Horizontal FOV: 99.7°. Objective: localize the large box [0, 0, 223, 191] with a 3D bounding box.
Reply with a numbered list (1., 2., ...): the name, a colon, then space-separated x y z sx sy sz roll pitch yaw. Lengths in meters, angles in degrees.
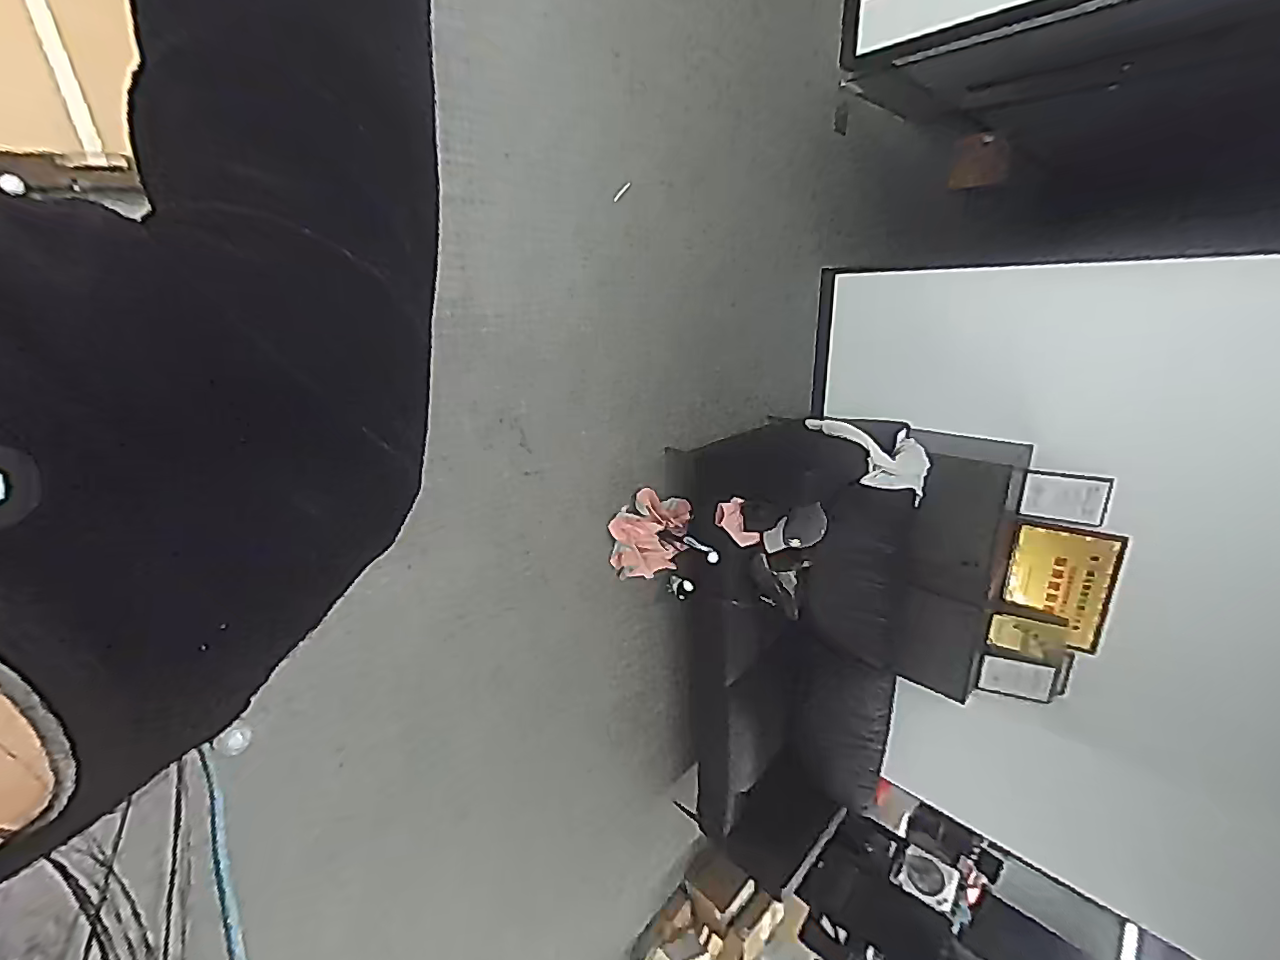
1. large box: -0.935 -0.704 0.852 0.320 0.320 0.408 -25 118 -39
